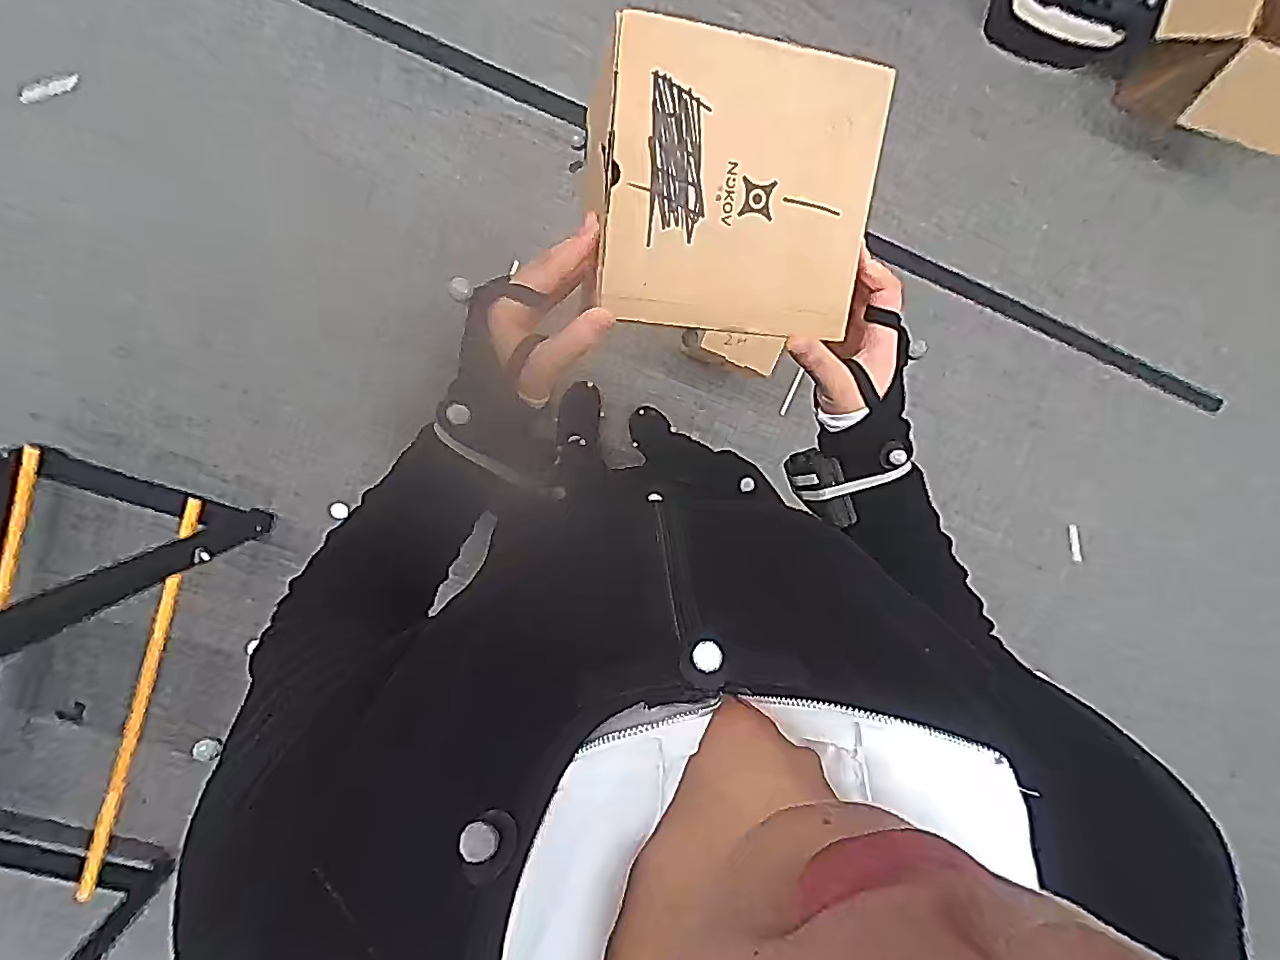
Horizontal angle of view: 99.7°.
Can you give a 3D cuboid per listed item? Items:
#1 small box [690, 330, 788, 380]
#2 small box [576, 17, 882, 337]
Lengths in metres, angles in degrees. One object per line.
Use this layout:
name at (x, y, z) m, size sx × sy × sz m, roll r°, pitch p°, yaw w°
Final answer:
small box at (0.224, -0.335, 1.201) m, size 0.168 × 0.176 × 0.179 m, roll 22°, pitch 99°, yaw -8°
small box at (0.045, -0.202, 0.414) m, size 0.179 × 0.176 × 0.168 m, roll 1°, pitch 107°, yaw -12°
